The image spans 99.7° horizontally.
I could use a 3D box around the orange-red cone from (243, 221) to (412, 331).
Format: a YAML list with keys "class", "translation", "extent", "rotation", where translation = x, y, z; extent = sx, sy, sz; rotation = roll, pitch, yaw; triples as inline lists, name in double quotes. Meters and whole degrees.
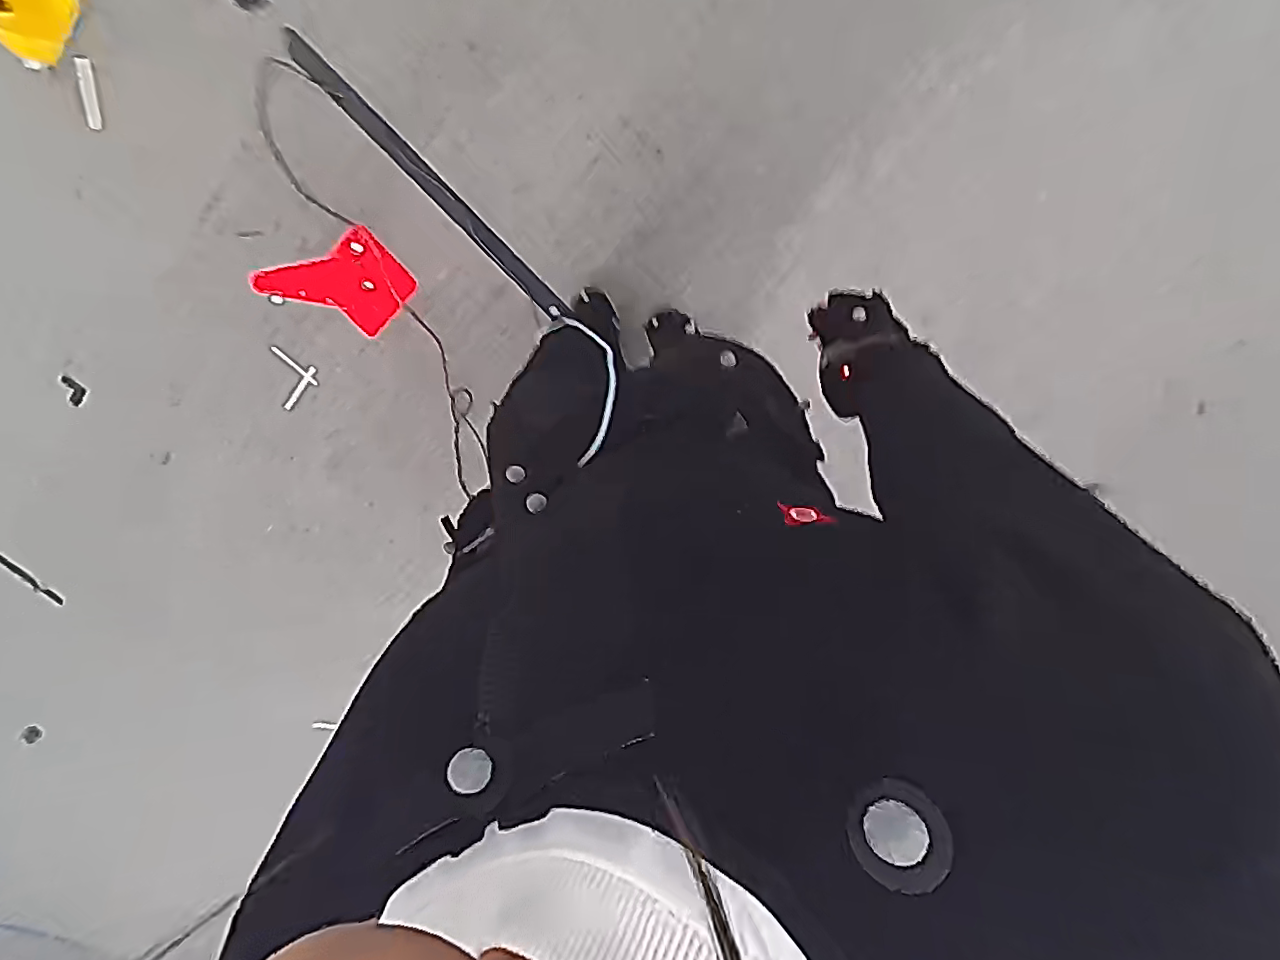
- class: "orange-red cone"
  translation: [-0.693, -0.431, 1.155]
  extent: [0.199, 0.360, 0.198]
  rotation: [-38, 102, 18]
